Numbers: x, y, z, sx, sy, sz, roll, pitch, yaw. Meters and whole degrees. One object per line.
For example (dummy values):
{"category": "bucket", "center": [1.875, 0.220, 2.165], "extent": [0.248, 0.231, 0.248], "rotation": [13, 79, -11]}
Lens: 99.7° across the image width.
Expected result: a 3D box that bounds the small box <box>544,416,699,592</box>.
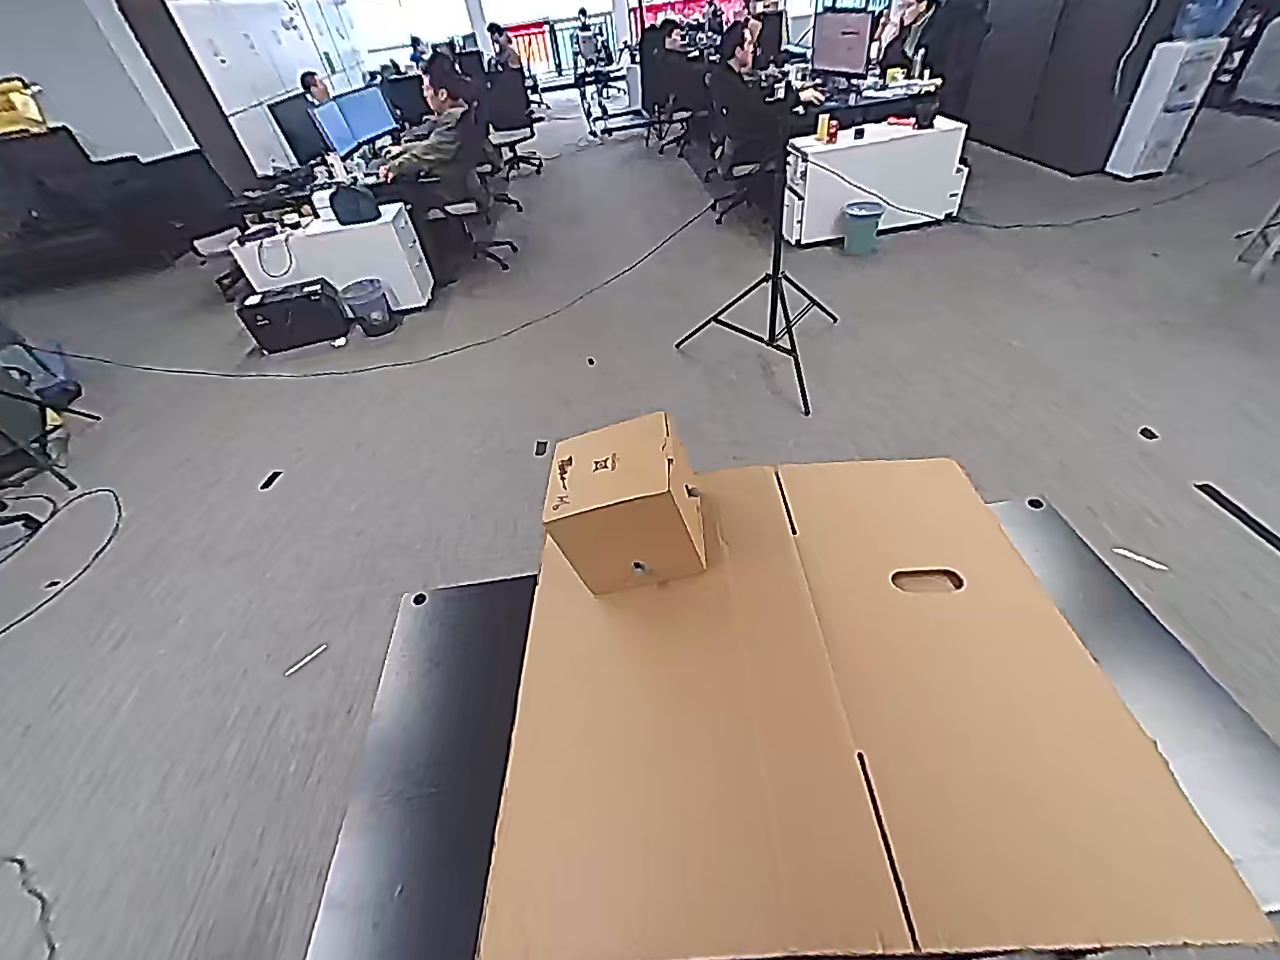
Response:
{"category": "small box", "center": [-0.016, 0.039, 0.783], "extent": [0.179, 0.176, 0.168], "rotation": [-14, 40, 13]}
